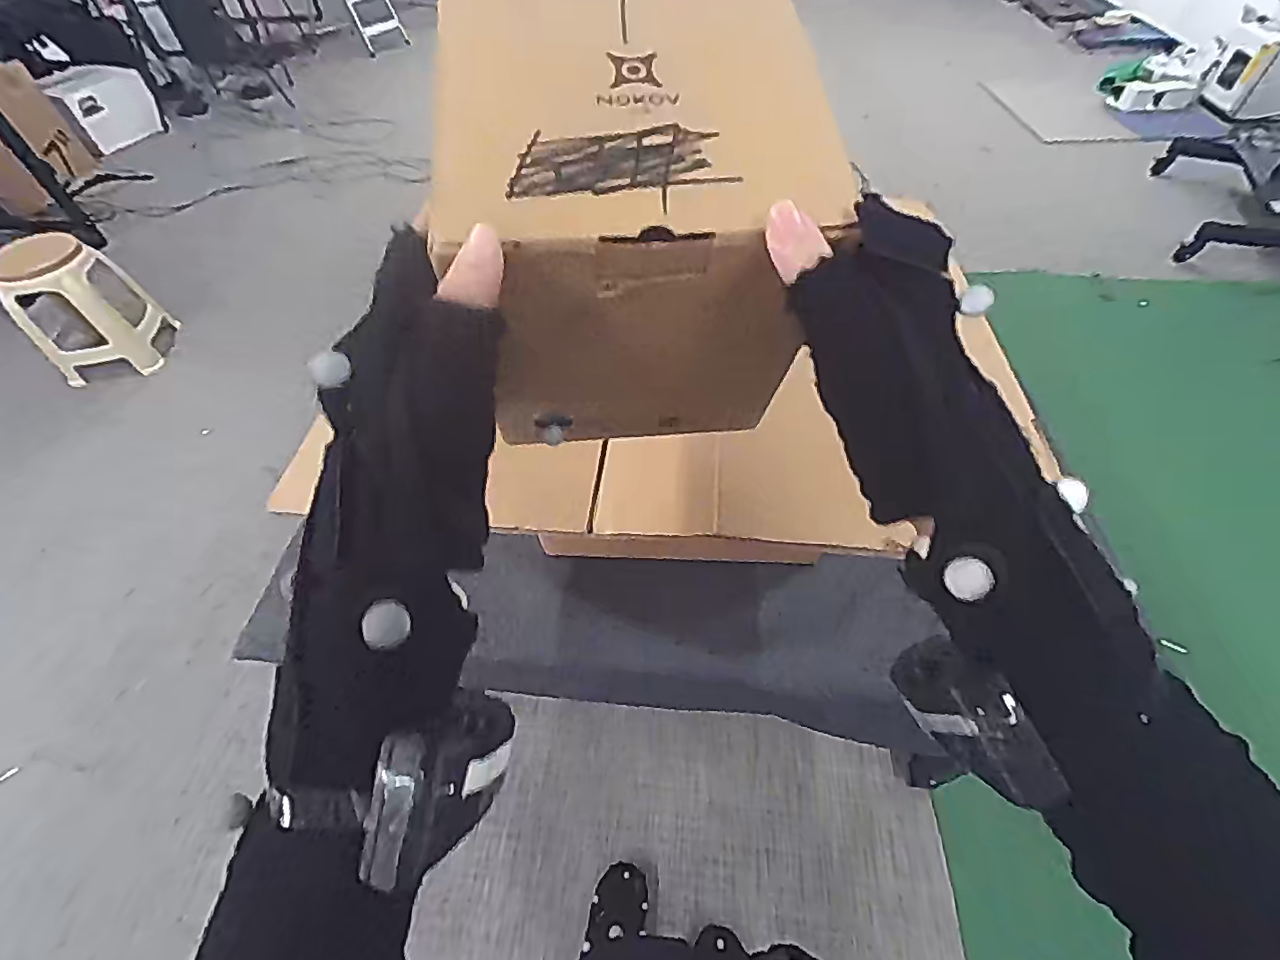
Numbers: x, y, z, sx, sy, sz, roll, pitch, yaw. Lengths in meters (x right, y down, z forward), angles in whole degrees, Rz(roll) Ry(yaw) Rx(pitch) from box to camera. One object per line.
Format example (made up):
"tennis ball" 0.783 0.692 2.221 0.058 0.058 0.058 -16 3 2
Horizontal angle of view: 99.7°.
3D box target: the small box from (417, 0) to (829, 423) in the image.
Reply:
"small box" -0.015 -0.142 0.314 0.168 0.176 0.179 -4 67 -5
